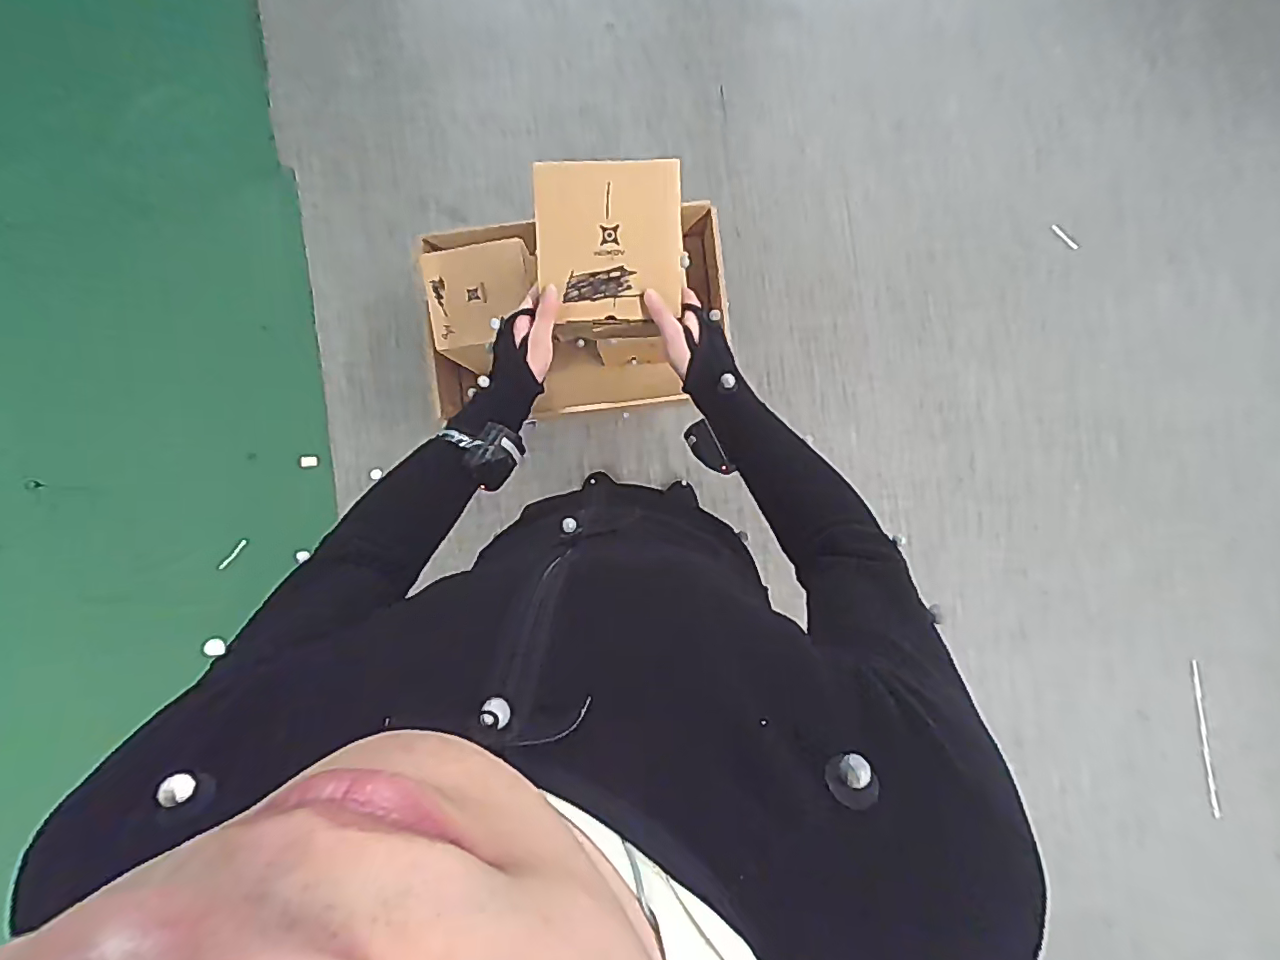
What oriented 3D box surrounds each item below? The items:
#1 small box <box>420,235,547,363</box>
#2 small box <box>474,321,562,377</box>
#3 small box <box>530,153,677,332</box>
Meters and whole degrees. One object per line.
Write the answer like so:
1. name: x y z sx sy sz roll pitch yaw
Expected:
1. small box: -0.271 -0.319 0.983 0.179 0.176 0.168 -9 91 0
2. small box: -0.271 -0.321 1.147 0.179 0.176 0.168 -7 91 -1
3. small box: -0.040 -0.285 0.685 0.168 0.176 0.179 -1 98 -1
